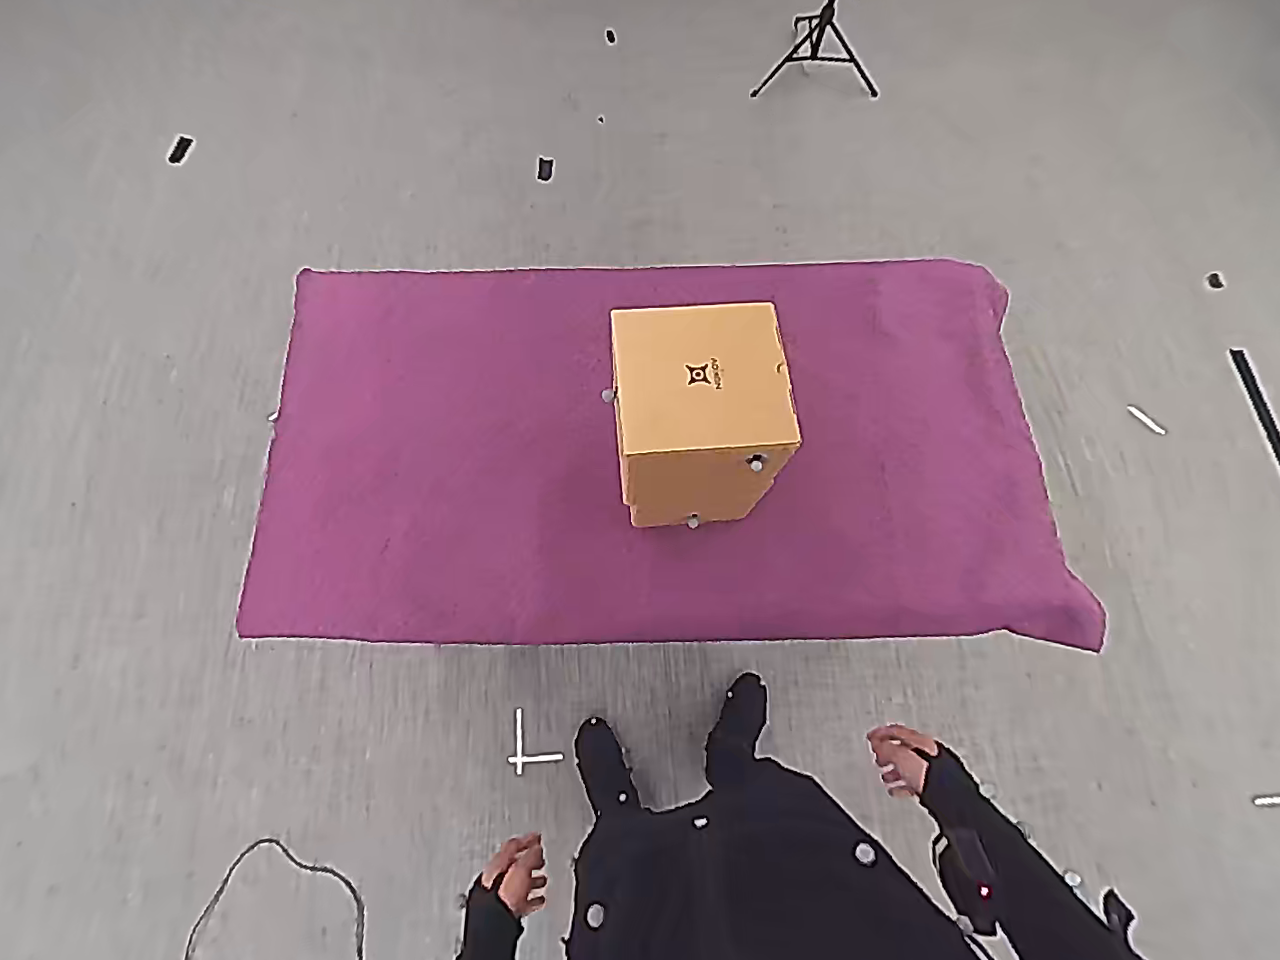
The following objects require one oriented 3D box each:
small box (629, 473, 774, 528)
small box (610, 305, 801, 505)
[{"bbox_3d":[0.072,-0.034,0.774,0.179,0.176,0.168,-5,70,-5],"label":"small box"},{"bbox_3d":[0.061,-0.076,0.615,0.179,0.176,0.168,-4,71,-4],"label":"small box"}]
